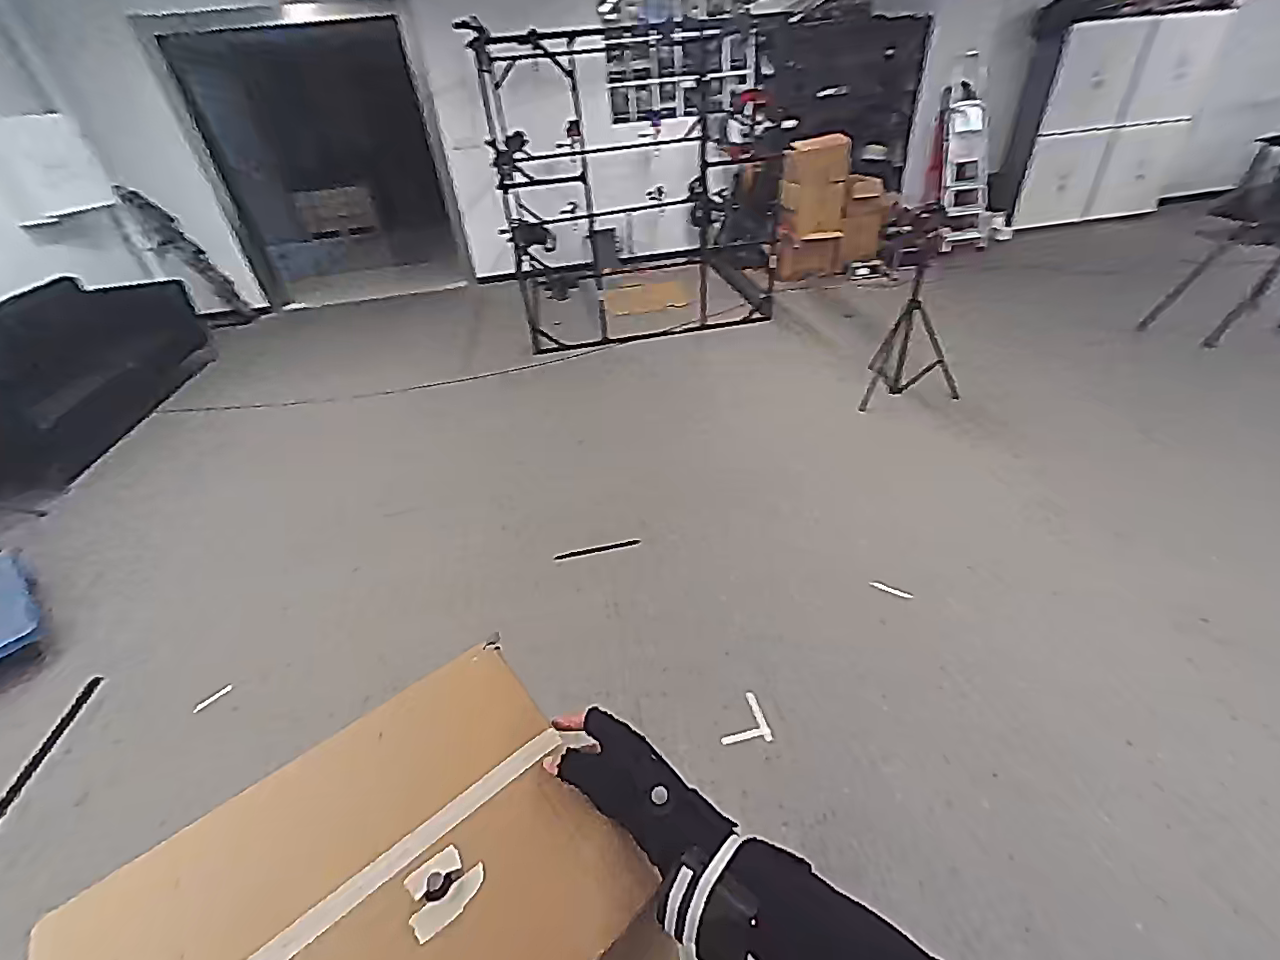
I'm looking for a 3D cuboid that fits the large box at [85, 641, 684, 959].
[{"bbox_3d":[-0.206,0.454,0.531,0.408,0.320,0.320,-28,41,-27],"label":"large box"}]
